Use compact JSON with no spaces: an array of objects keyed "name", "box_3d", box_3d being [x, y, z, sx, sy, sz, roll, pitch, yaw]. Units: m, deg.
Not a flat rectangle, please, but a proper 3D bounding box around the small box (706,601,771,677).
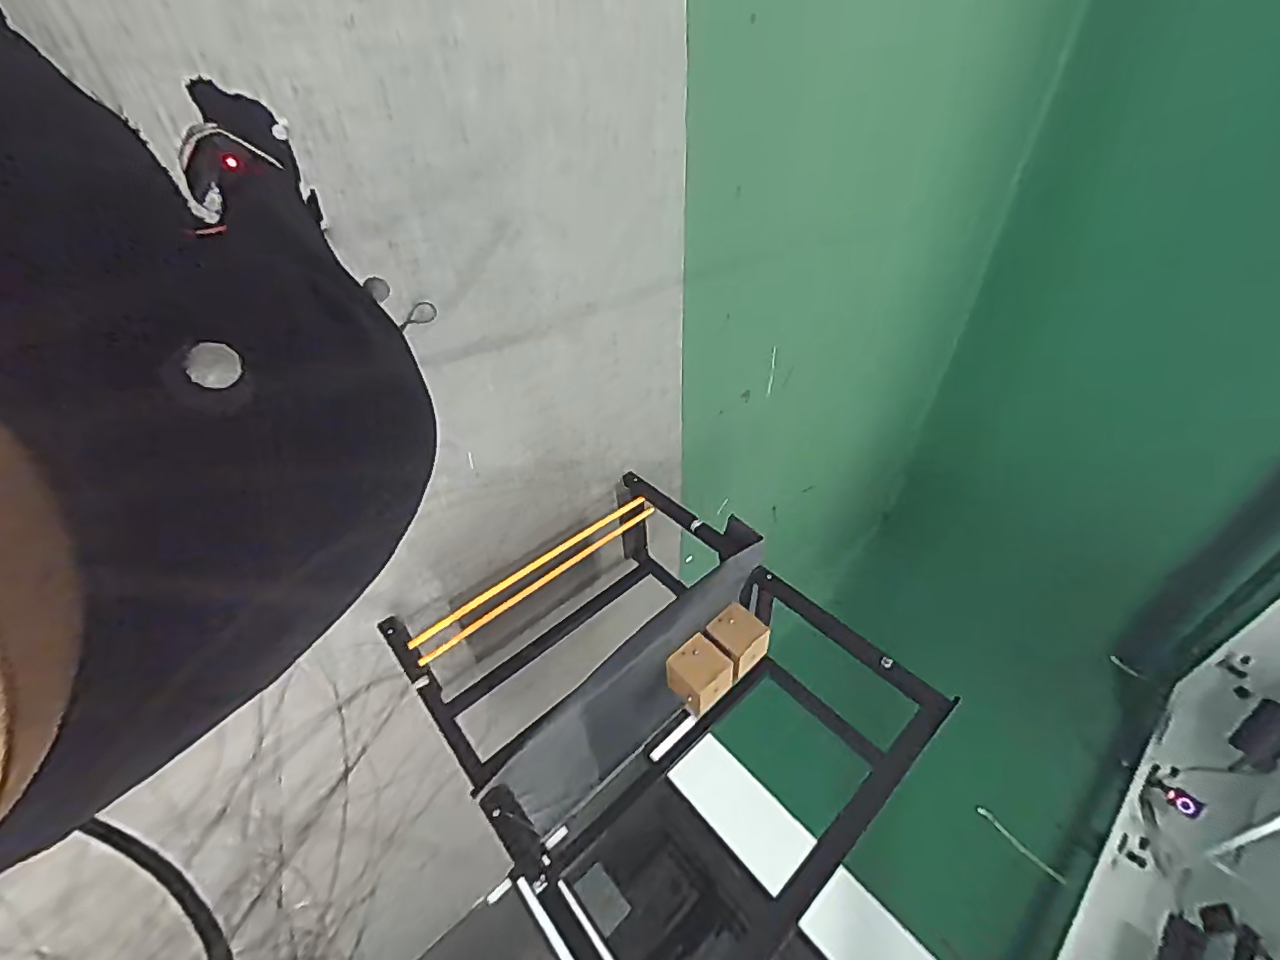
[{"name":"small box","box_3d":[0.355,0.580,1.990,0.168,0.176,0.179,-34,140,-26]}]
